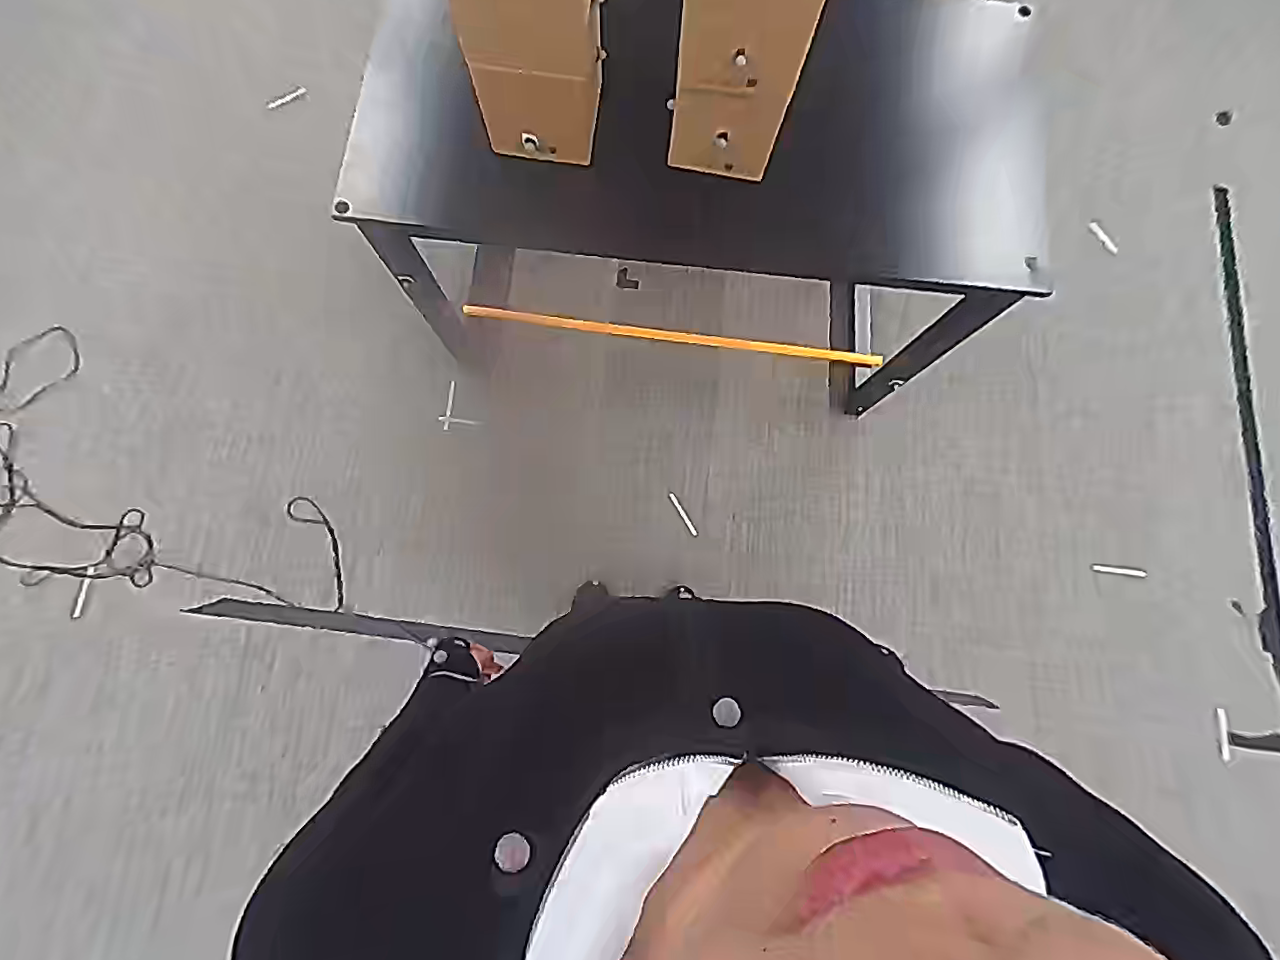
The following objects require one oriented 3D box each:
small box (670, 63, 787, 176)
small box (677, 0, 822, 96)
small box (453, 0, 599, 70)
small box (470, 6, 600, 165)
[{"bbox_3d":[0.143,-0.627,0.867,0.168,0.176,0.179,10,79,0],"label":"small box"},{"bbox_3d":[0.141,-0.651,0.703,0.168,0.176,0.179,5,79,0],"label":"small box"},{"bbox_3d":[-0.149,-0.676,0.700,0.179,0.176,0.168,5,79,-1],"label":"small box"},{"bbox_3d":[-0.155,-0.646,0.861,0.168,0.176,0.179,6,79,0],"label":"small box"}]
